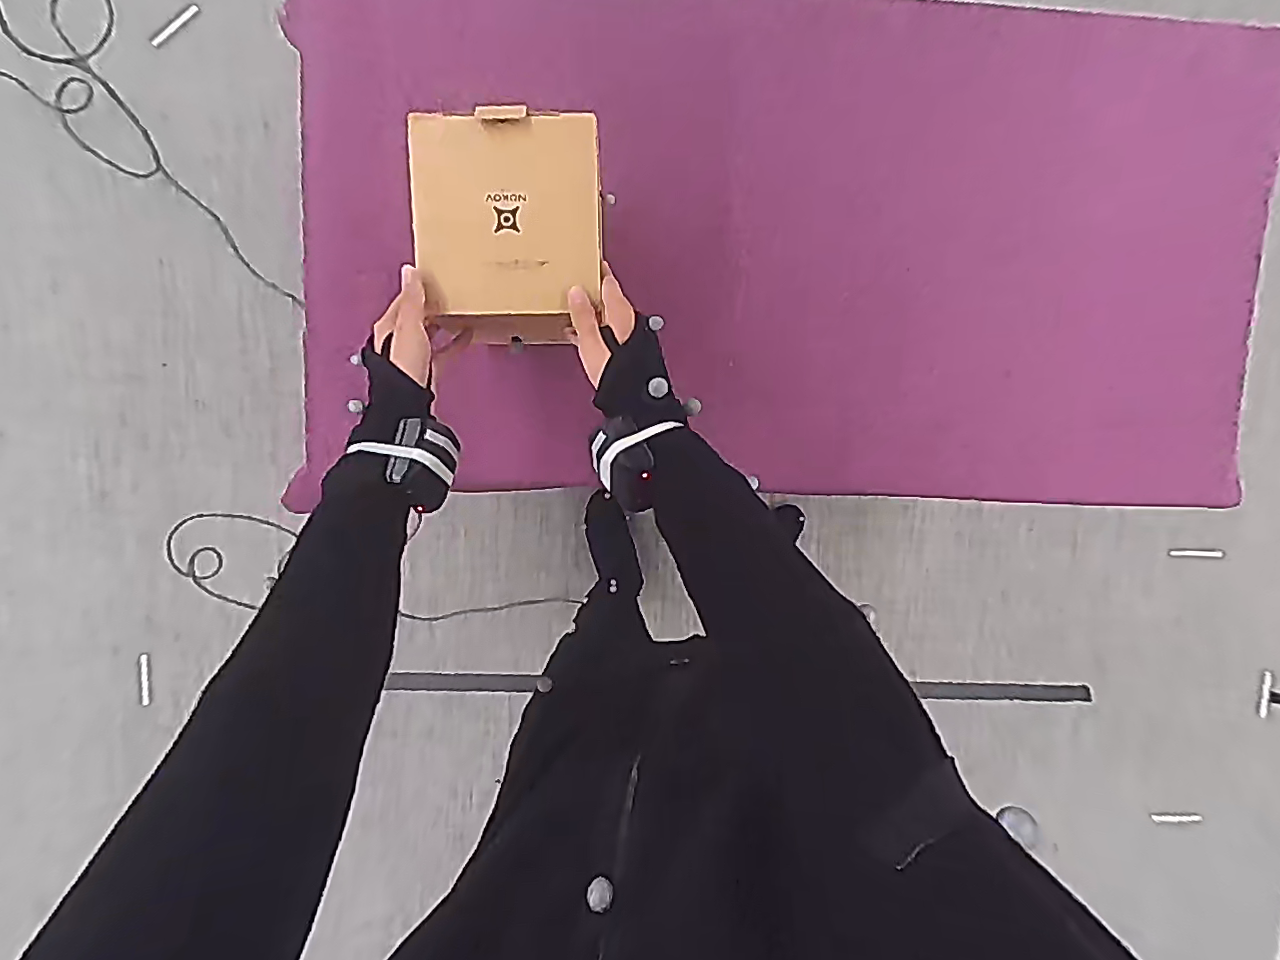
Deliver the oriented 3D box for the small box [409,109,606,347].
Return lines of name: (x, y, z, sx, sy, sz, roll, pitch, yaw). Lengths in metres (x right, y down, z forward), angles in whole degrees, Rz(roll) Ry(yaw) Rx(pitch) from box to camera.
small box: (-0.122, -0.240, 0.554, 0.168, 0.176, 0.179, -1, 95, -1)
